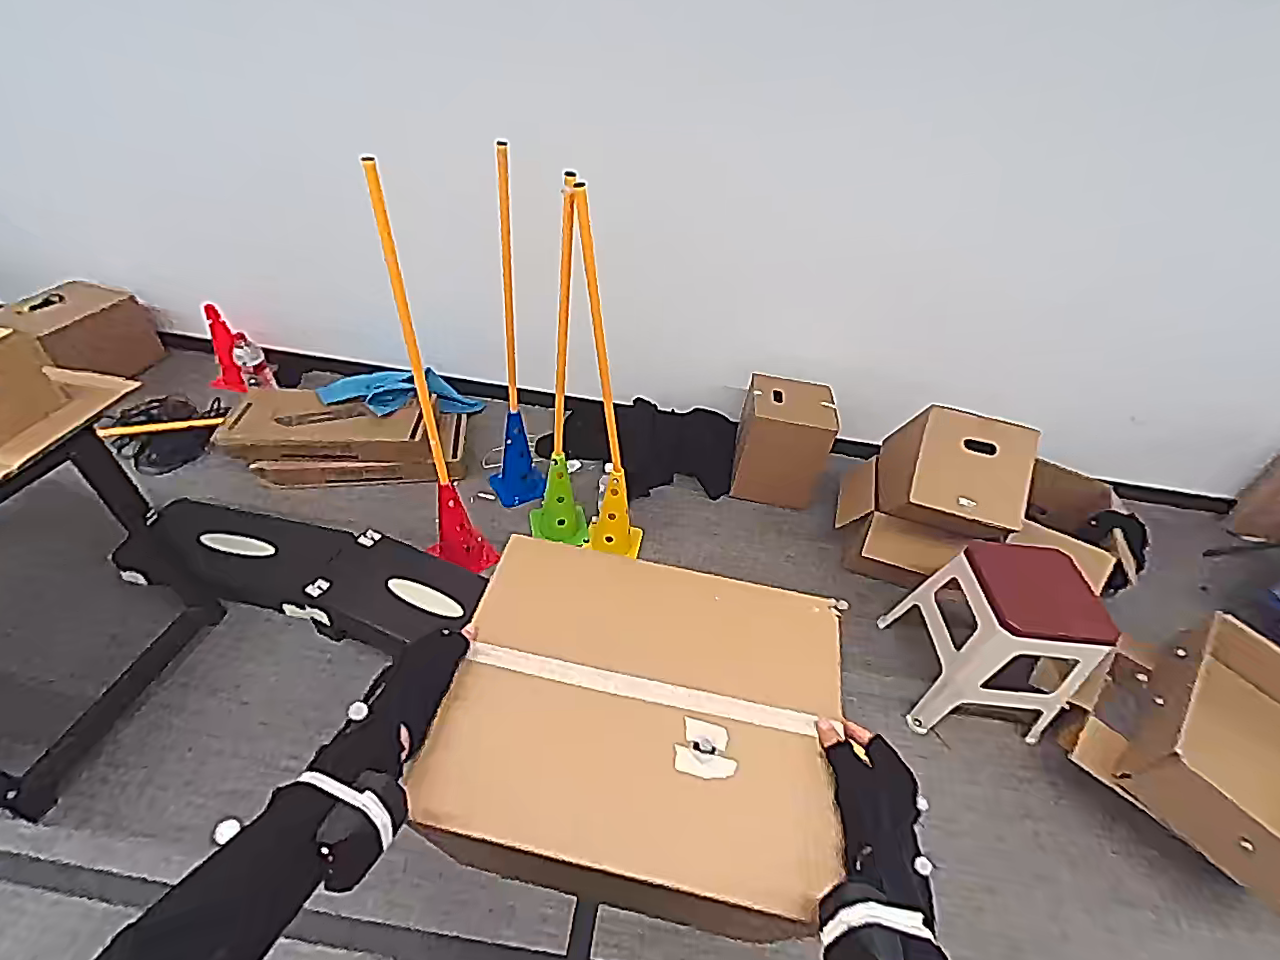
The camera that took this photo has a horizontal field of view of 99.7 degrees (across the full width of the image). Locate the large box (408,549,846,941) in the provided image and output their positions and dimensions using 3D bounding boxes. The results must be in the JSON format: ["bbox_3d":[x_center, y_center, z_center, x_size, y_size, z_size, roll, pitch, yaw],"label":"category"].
[{"bbox_3d":[-0.003,0.331,0.682,0.408,0.320,0.320,11,48,5],"label":"large box"}]
